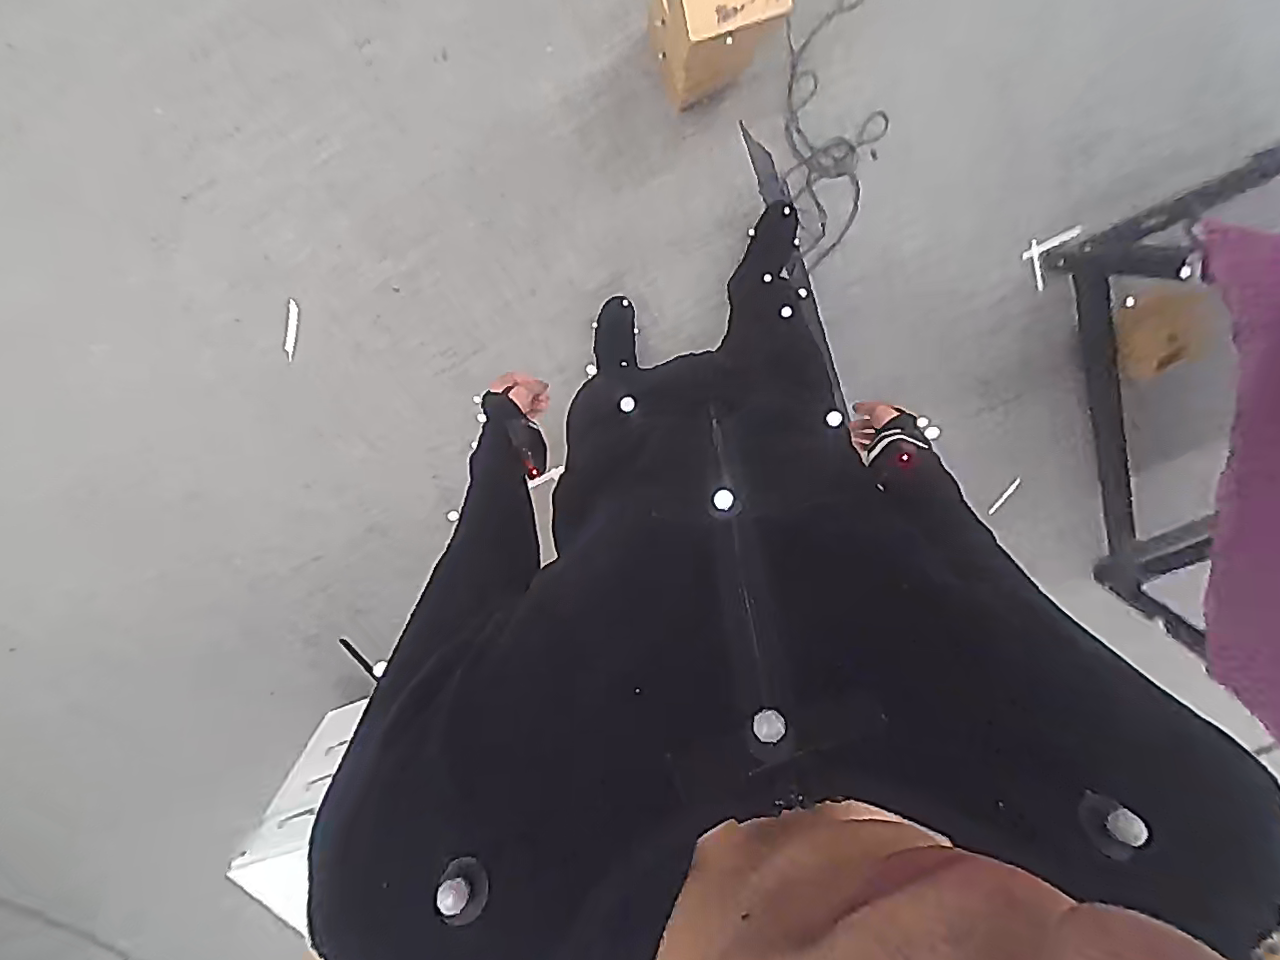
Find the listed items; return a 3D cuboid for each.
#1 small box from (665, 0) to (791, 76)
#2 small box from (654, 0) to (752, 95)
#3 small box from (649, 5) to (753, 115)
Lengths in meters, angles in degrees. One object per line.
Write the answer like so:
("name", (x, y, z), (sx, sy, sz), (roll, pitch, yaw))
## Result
("small box", (0.132, -0.807, 0.884), (0.168, 0.176, 0.179), (-14, 112, 5))
("small box", (0.131, -0.876, 1.033), (0.179, 0.176, 0.168), (-21, 113, 8))
("small box", (0.126, -0.942, 1.181), (0.168, 0.176, 0.179), (-23, 113, 9))
